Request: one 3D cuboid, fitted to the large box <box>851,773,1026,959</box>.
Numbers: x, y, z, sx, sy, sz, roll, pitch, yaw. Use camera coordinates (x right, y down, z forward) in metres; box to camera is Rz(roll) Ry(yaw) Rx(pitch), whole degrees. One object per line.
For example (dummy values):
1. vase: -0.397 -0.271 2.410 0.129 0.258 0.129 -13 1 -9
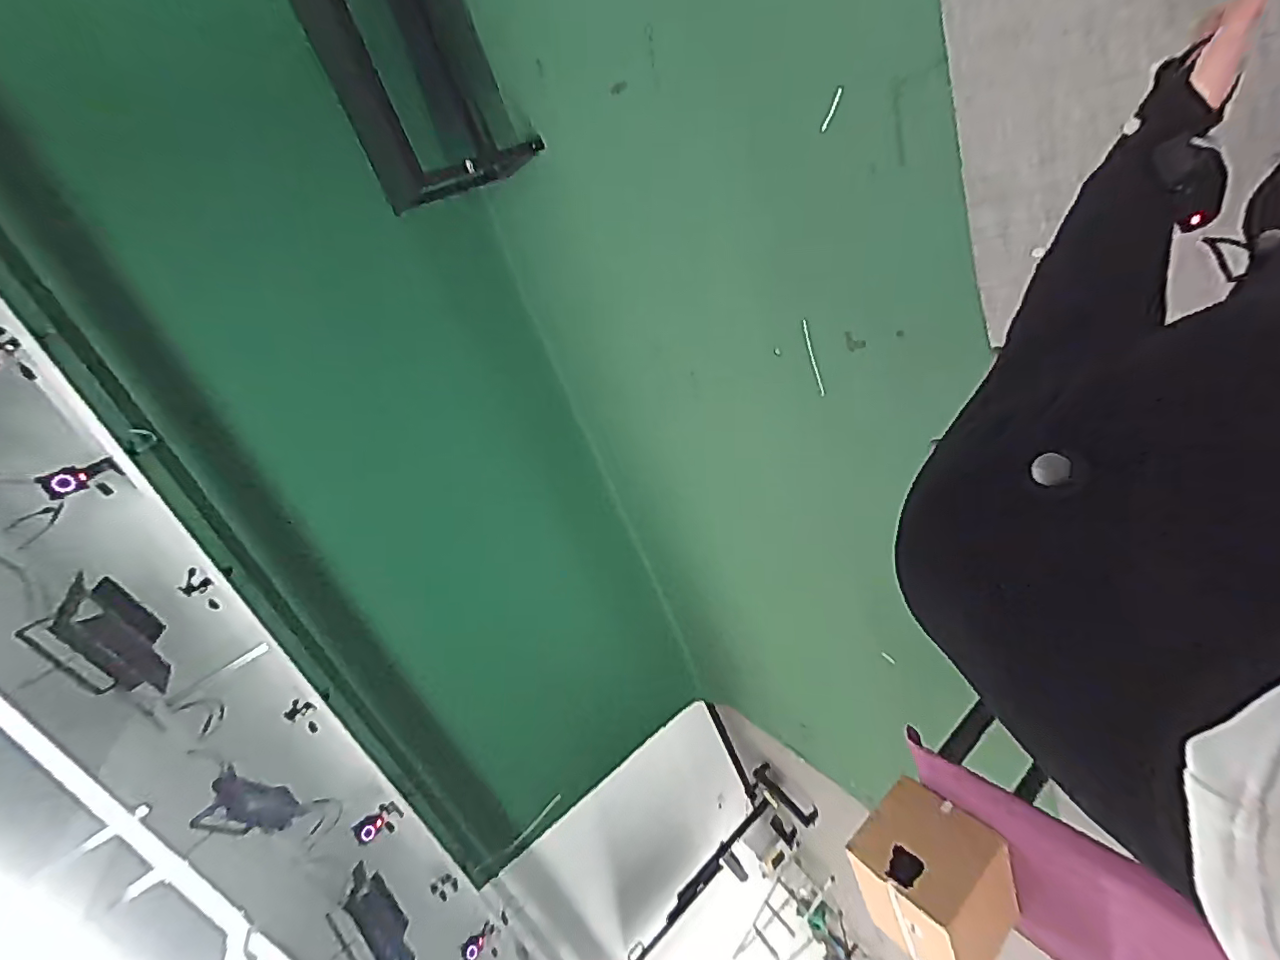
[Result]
1. large box: 0.896 1.195 1.616 0.320 0.320 0.408 12 130 56
